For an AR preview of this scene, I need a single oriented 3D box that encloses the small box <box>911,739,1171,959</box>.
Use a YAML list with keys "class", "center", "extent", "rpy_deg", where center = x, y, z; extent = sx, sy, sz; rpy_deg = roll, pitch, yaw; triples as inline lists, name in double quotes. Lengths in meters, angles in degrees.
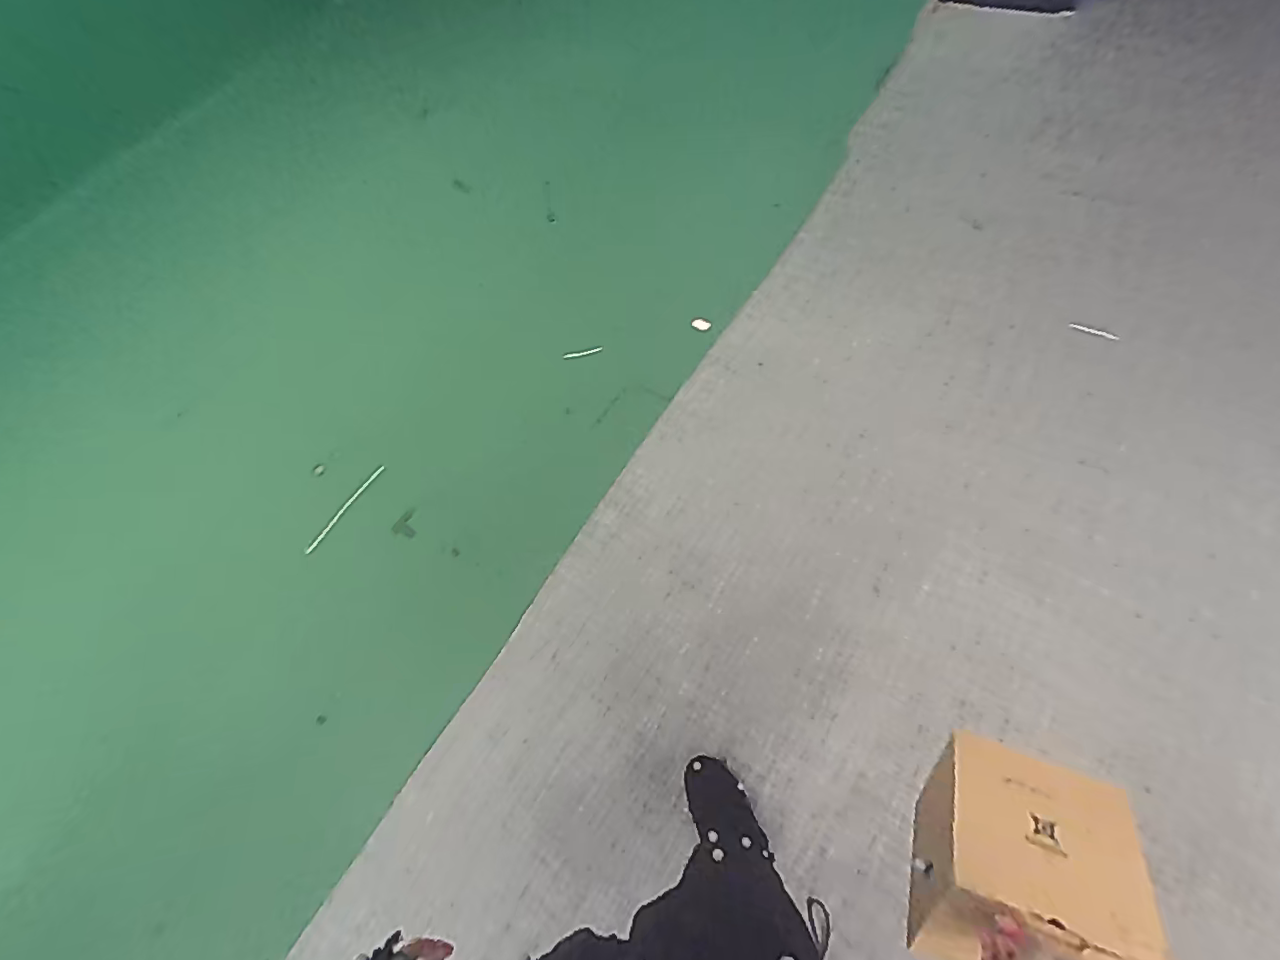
- class: "small box"
  center: [0.398, 0.425, 0.568]
  extent: [0.168, 0.176, 0.179]
  rpy_deg: [16, 34, 22]
